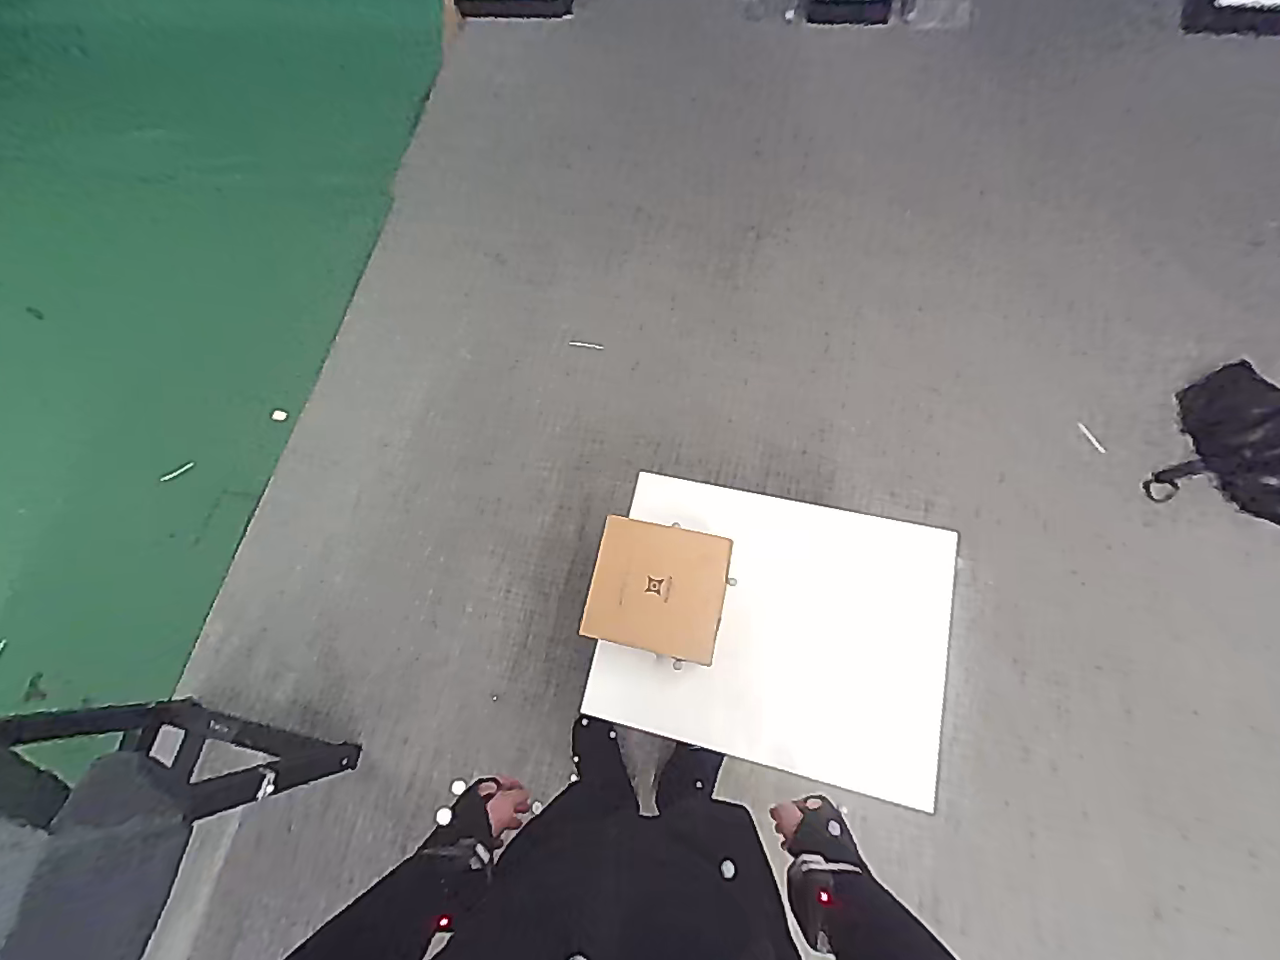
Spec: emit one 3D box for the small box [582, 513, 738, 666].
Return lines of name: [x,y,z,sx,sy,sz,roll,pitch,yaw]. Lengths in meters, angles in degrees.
small box: [0.033,0.160,0.767,0.179,0.176,0.168,10,72,8]
